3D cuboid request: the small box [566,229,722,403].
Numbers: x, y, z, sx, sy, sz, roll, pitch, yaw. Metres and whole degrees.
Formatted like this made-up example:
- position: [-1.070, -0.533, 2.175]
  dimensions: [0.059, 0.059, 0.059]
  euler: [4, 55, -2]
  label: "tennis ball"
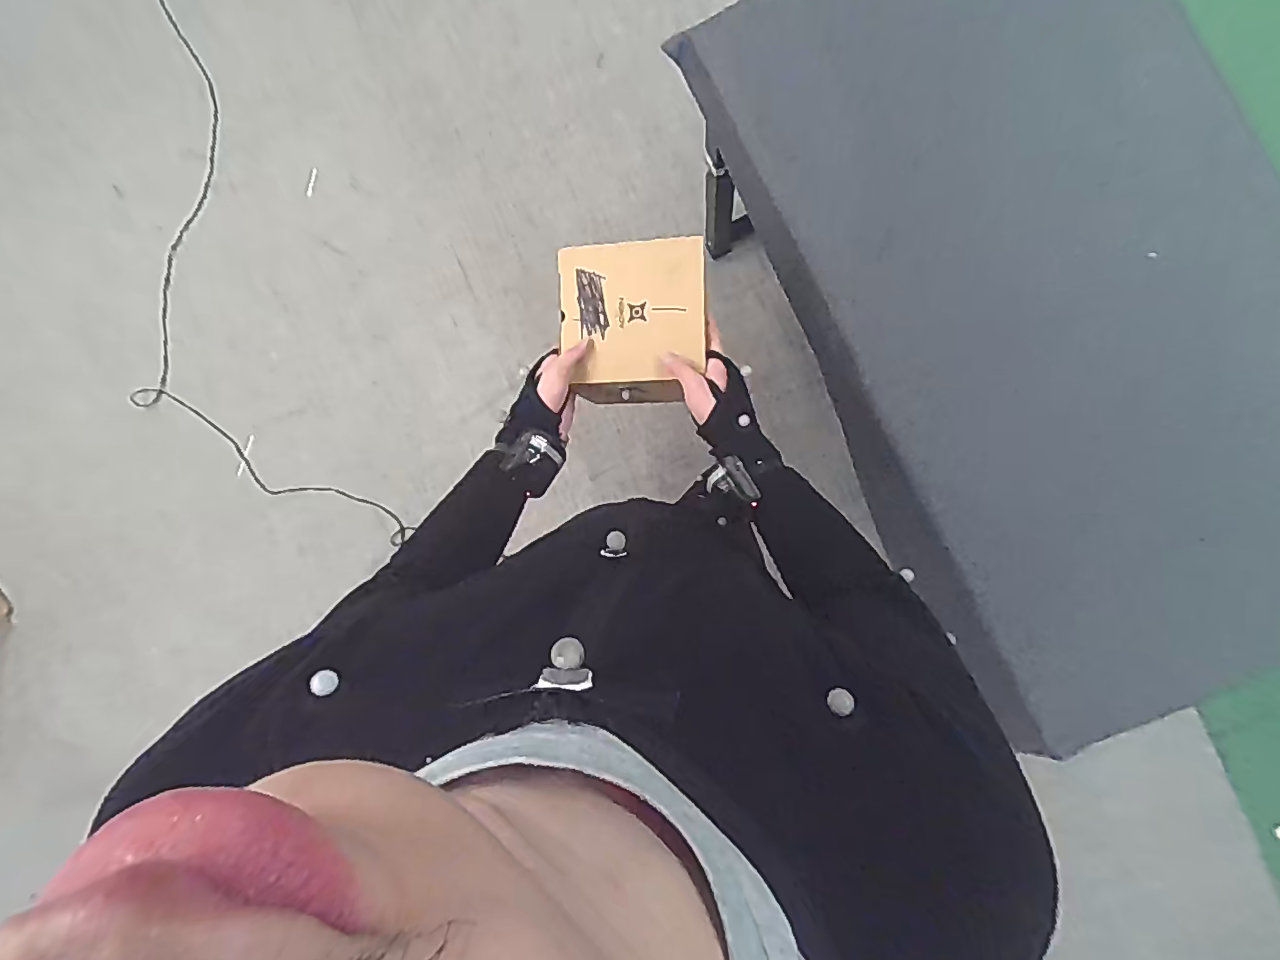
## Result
- position: [0.014, -0.193, 0.686]
  dimensions: [0.179, 0.176, 0.168]
  euler: [-2, 89, 7]
  label: "small box"
